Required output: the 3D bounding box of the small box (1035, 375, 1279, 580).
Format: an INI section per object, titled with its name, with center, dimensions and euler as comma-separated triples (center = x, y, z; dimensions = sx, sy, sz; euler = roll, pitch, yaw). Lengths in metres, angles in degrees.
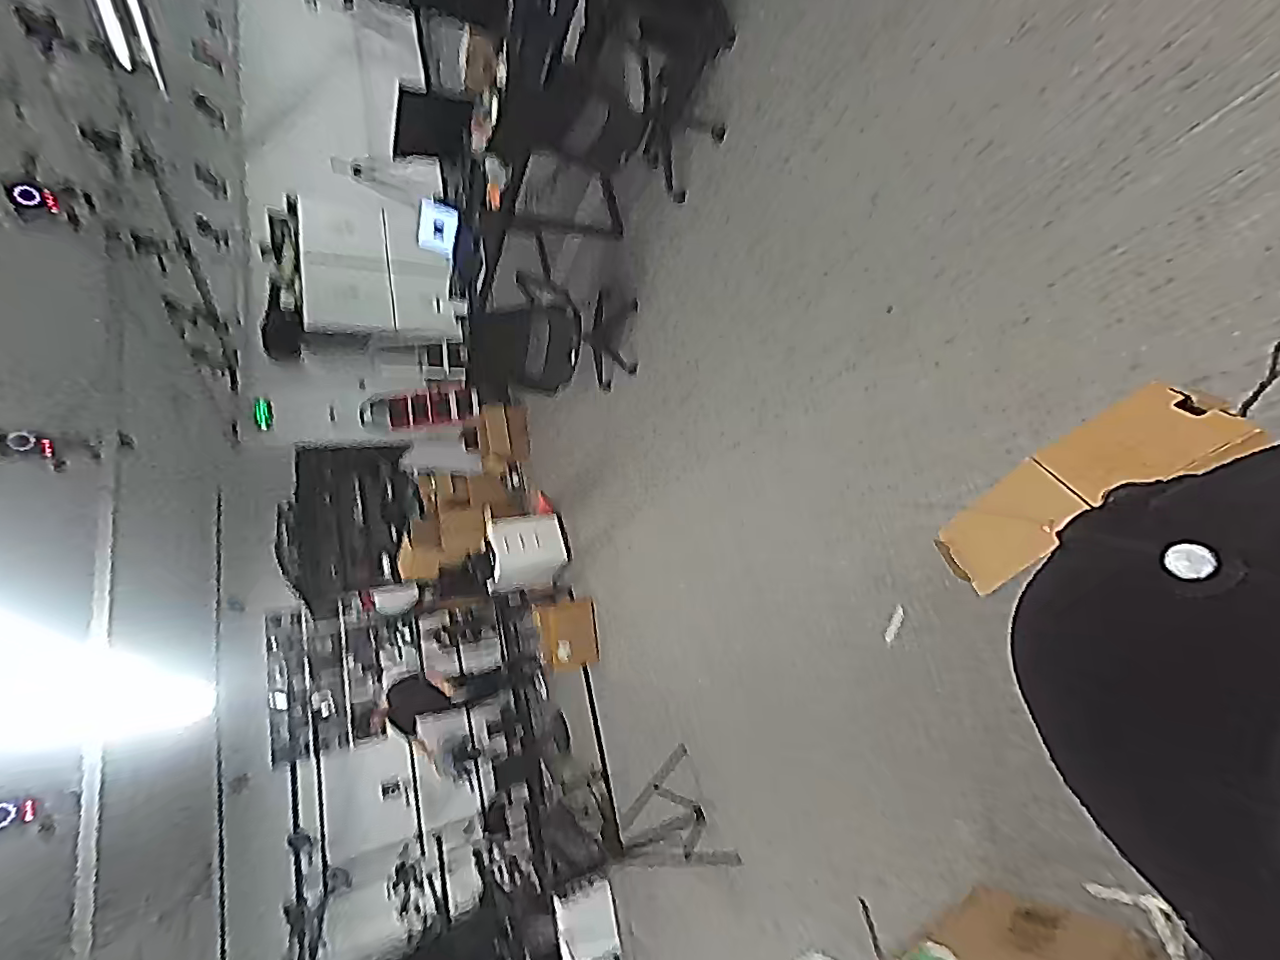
[small box]
center = 0.689, -0.001, 0.716
dimensions = 0.179, 0.176, 0.168
euler = -39, 17, 25
